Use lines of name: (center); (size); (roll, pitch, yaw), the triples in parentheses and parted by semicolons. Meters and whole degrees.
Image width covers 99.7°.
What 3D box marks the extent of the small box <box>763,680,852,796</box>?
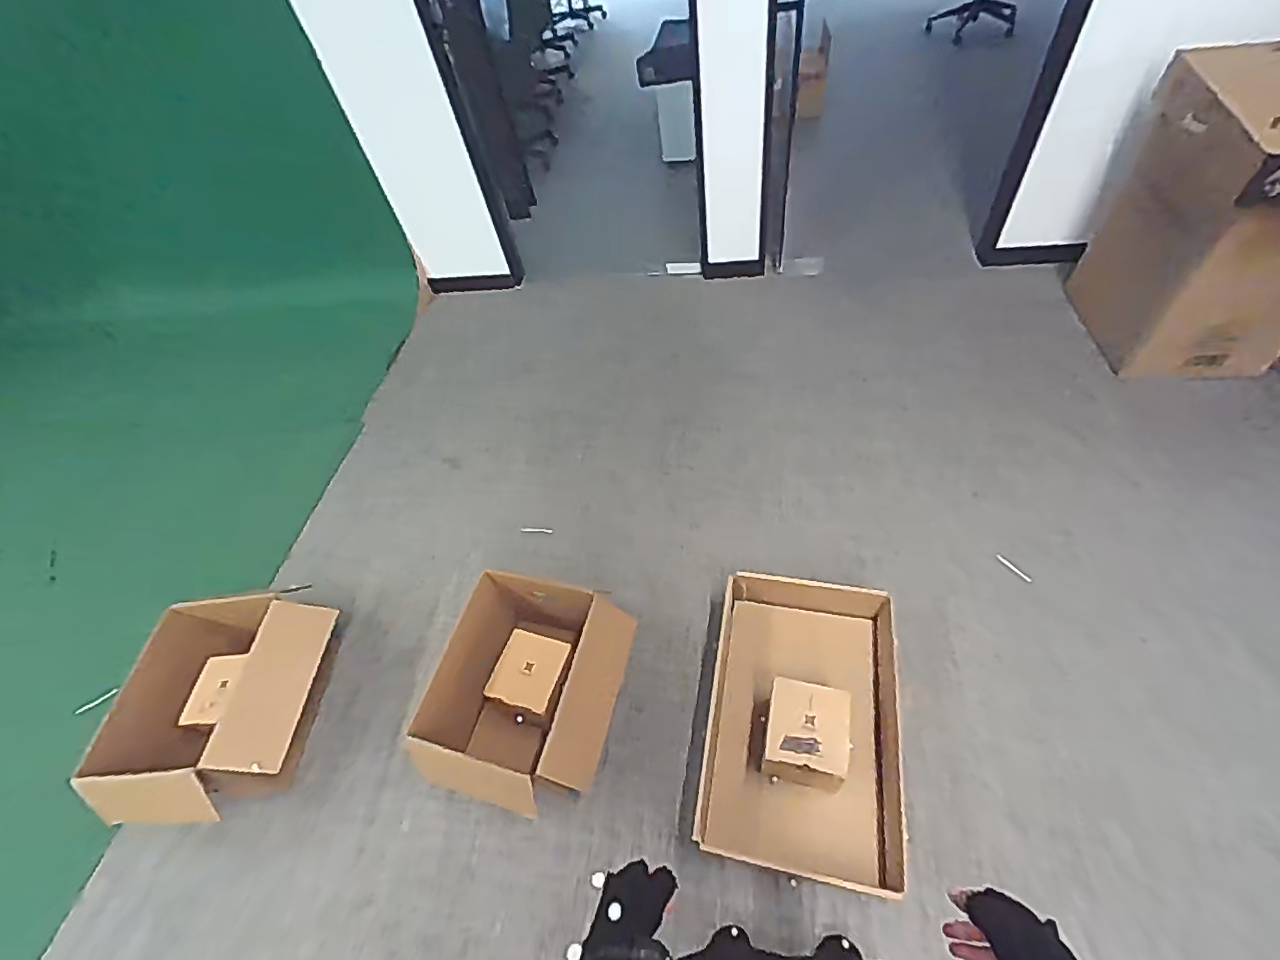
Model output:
small box: (0.367, 0.574, 1.197); (0.168, 0.176, 0.179); (8, 52, 15)
